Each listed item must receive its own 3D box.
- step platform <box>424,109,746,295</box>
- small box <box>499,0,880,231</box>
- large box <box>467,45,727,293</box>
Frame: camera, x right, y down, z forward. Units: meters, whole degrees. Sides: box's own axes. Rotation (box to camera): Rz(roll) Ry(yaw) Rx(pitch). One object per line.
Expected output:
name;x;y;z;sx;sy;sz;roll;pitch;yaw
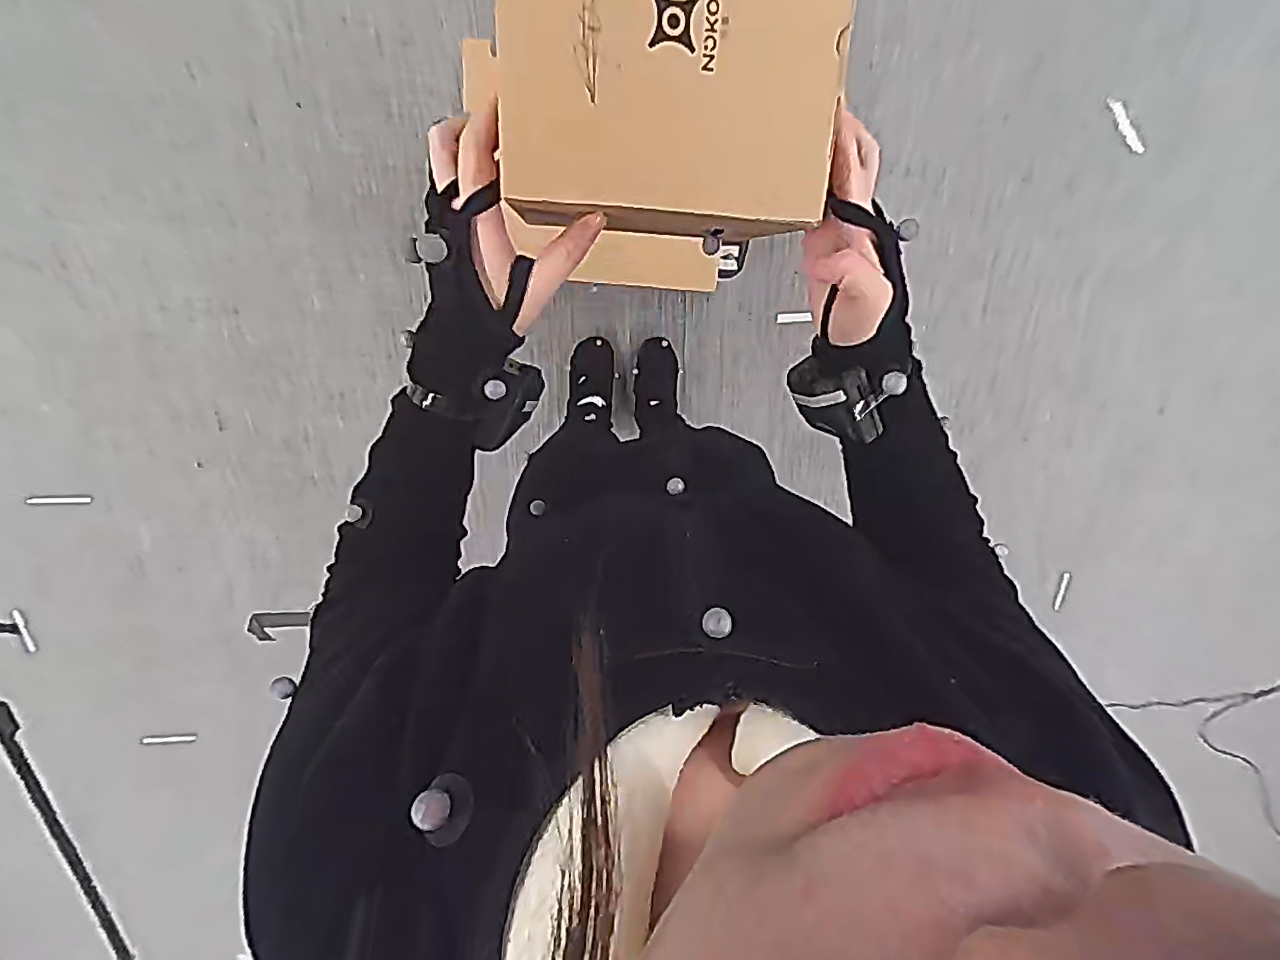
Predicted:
step platform;-0.108;-0.589;1.185;0.684;0.204;0.286;5;109;-6
small box;0.016;-0.245;0.315;0.179;0.176;0.168;1;110;-8
large box;-0.063;-0.512;0.962;0.408;0.320;0.320;3;109;-5
